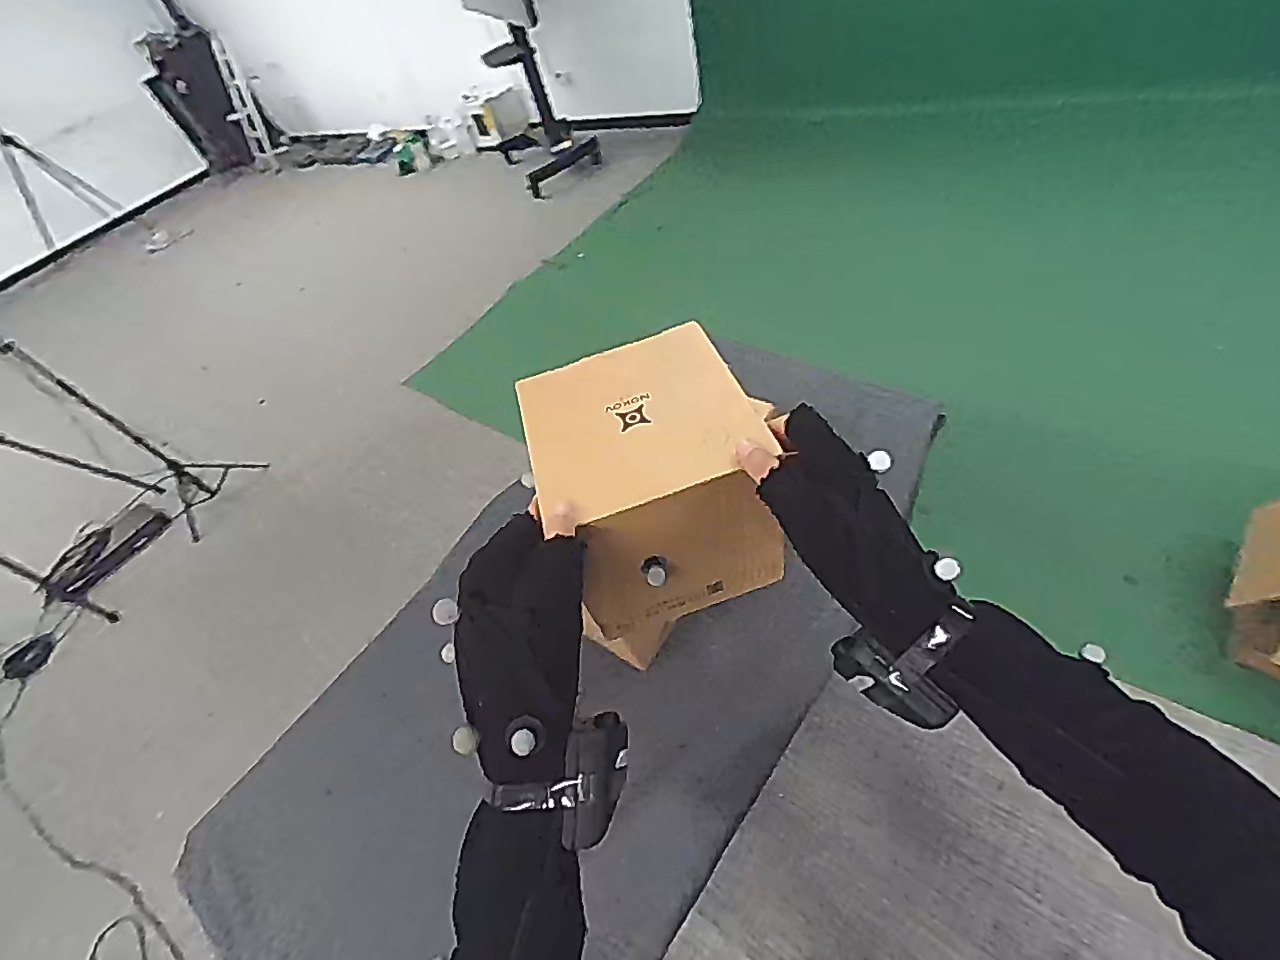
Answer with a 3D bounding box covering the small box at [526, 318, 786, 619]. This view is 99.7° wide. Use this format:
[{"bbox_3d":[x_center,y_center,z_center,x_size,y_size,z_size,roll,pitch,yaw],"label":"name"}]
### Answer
[{"bbox_3d":[0.017,-0.002,0.464,0.168,0.176,0.179,-19,47,-1],"label":"small box"}]
